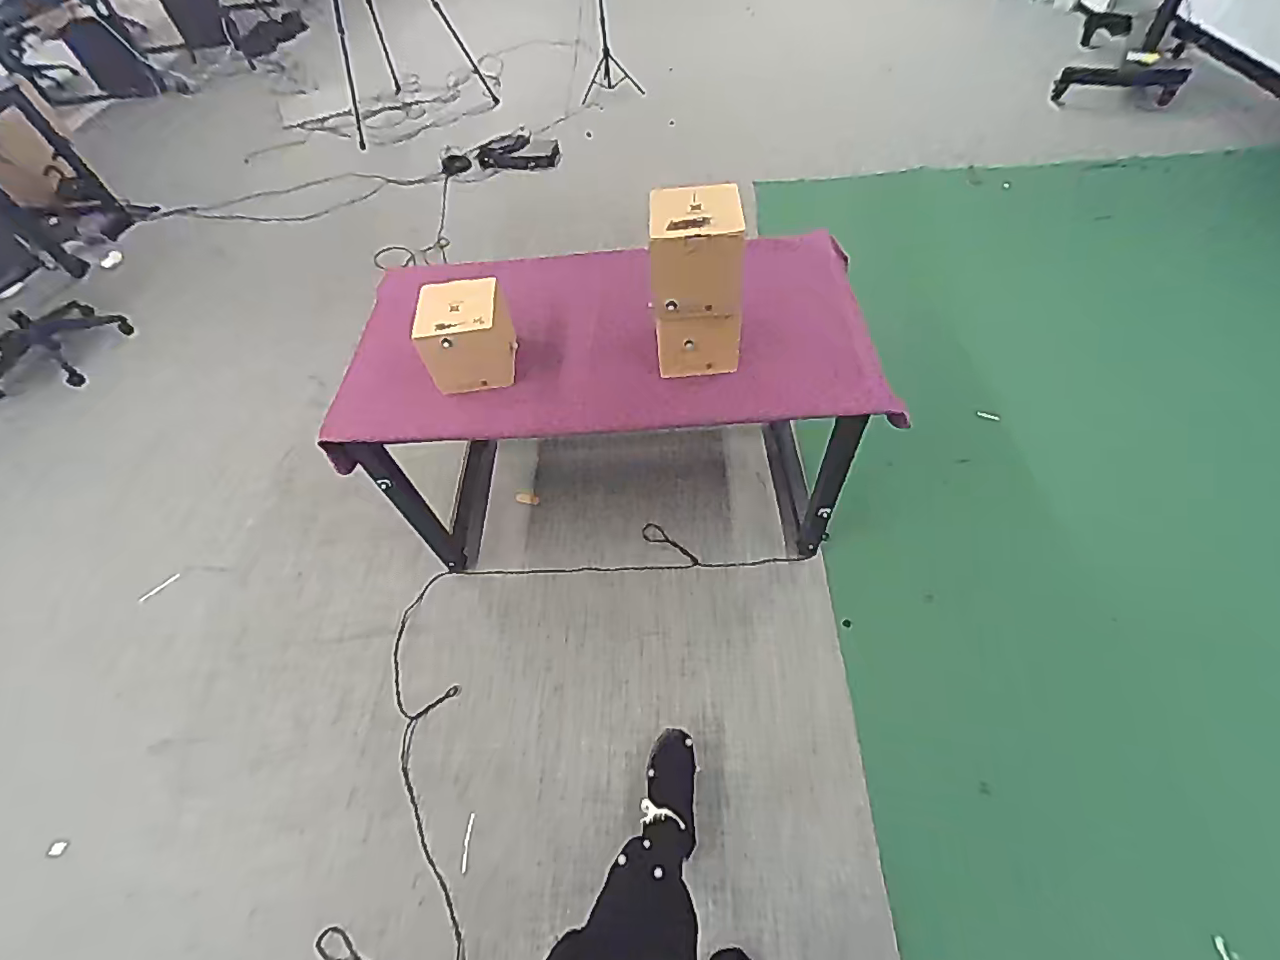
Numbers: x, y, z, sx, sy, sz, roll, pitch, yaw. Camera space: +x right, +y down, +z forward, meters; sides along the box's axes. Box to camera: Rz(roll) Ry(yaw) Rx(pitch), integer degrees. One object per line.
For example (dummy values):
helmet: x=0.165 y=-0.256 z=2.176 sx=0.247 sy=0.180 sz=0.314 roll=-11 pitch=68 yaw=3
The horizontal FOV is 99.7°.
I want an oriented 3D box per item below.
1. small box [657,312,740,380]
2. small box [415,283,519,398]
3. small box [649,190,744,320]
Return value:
small box: x=0.122 y=-0.331 z=1.169 sx=0.168 sy=0.176 sz=0.179 roll=-5 pitch=53 yaw=3
small box: x=-0.374 y=-0.308 z=1.202 sx=0.168 sy=0.176 sz=0.179 roll=-8 pitch=54 yaw=1
small box: x=0.107 y=-0.421 z=1.031 sx=0.168 sy=0.176 sz=0.179 roll=-2 pitch=53 yaw=5
